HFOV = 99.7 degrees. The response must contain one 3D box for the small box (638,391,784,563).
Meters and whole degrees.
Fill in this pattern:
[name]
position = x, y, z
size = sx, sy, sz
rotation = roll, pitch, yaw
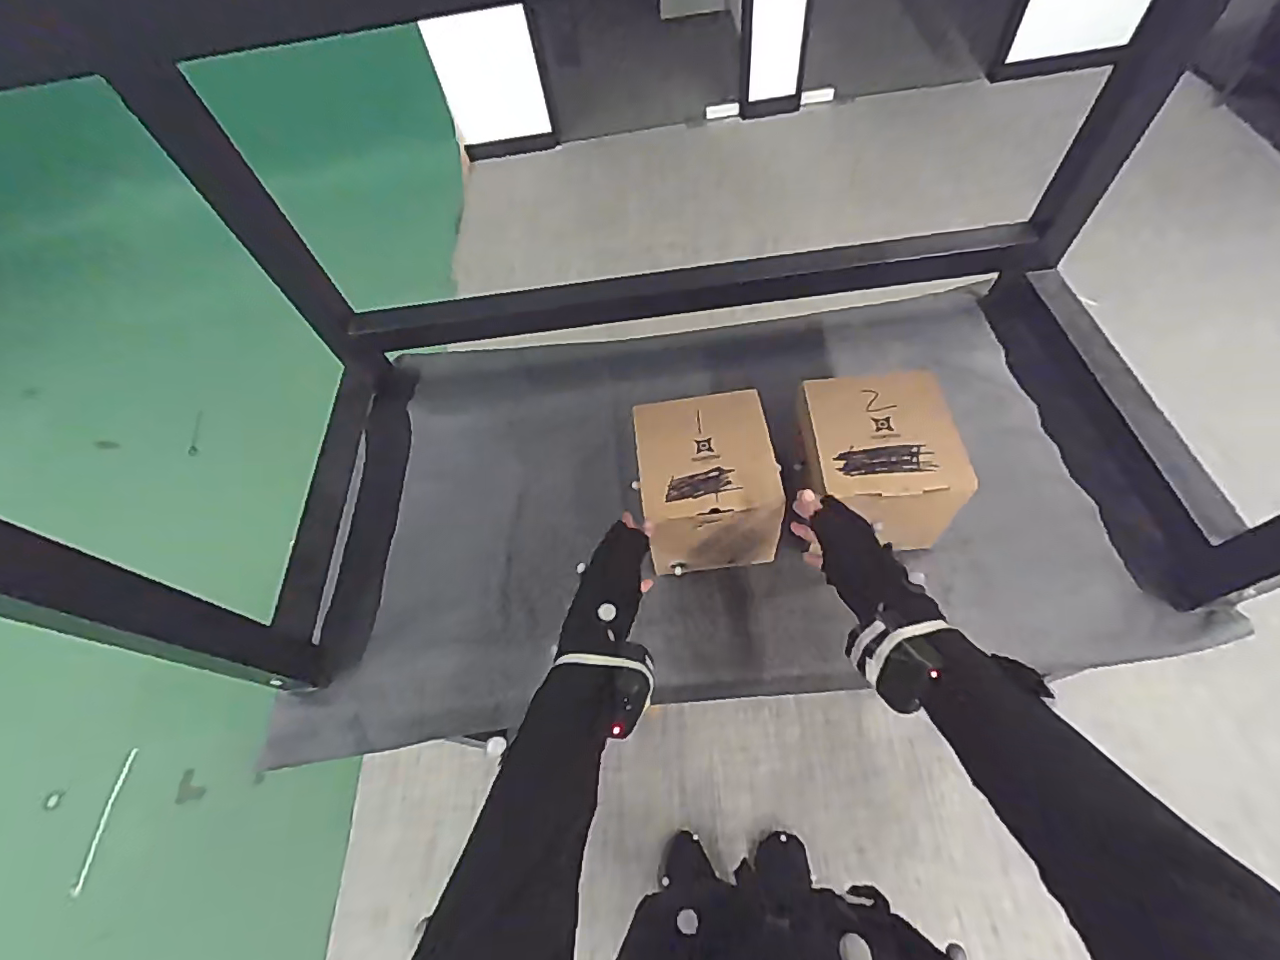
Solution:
[small box]
position = 0.094, 0.005, 0.747
size = 0.168, 0.176, 0.179
rotation = -7, 58, 3
